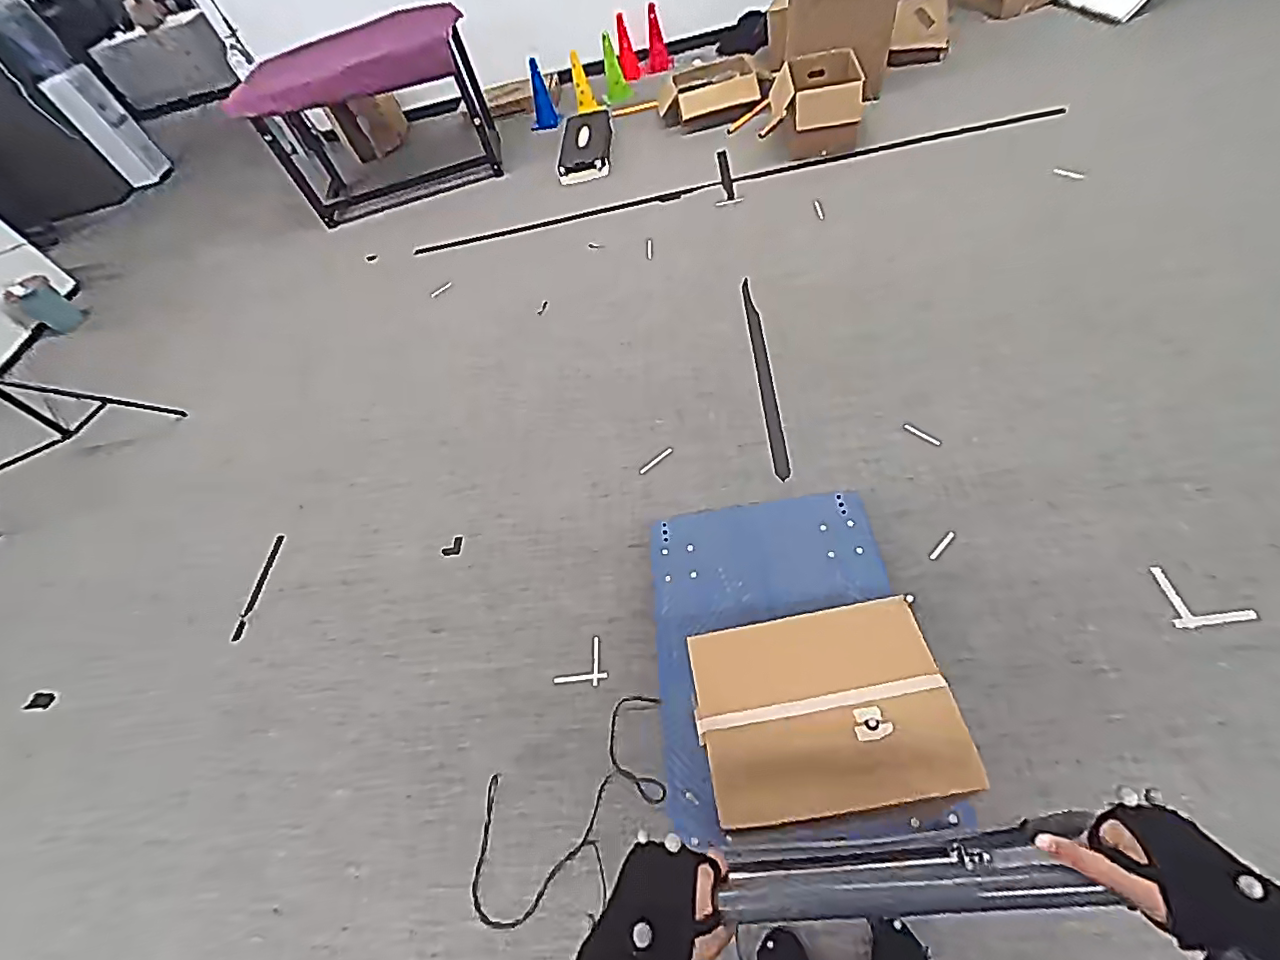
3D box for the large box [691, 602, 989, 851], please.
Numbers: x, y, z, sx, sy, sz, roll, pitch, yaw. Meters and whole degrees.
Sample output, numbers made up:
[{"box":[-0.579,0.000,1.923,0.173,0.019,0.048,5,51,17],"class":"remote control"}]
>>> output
[{"box":[0.334,0.473,1.020,0.408,0.320,0.320,-13,52,4],"class":"large box"}]
